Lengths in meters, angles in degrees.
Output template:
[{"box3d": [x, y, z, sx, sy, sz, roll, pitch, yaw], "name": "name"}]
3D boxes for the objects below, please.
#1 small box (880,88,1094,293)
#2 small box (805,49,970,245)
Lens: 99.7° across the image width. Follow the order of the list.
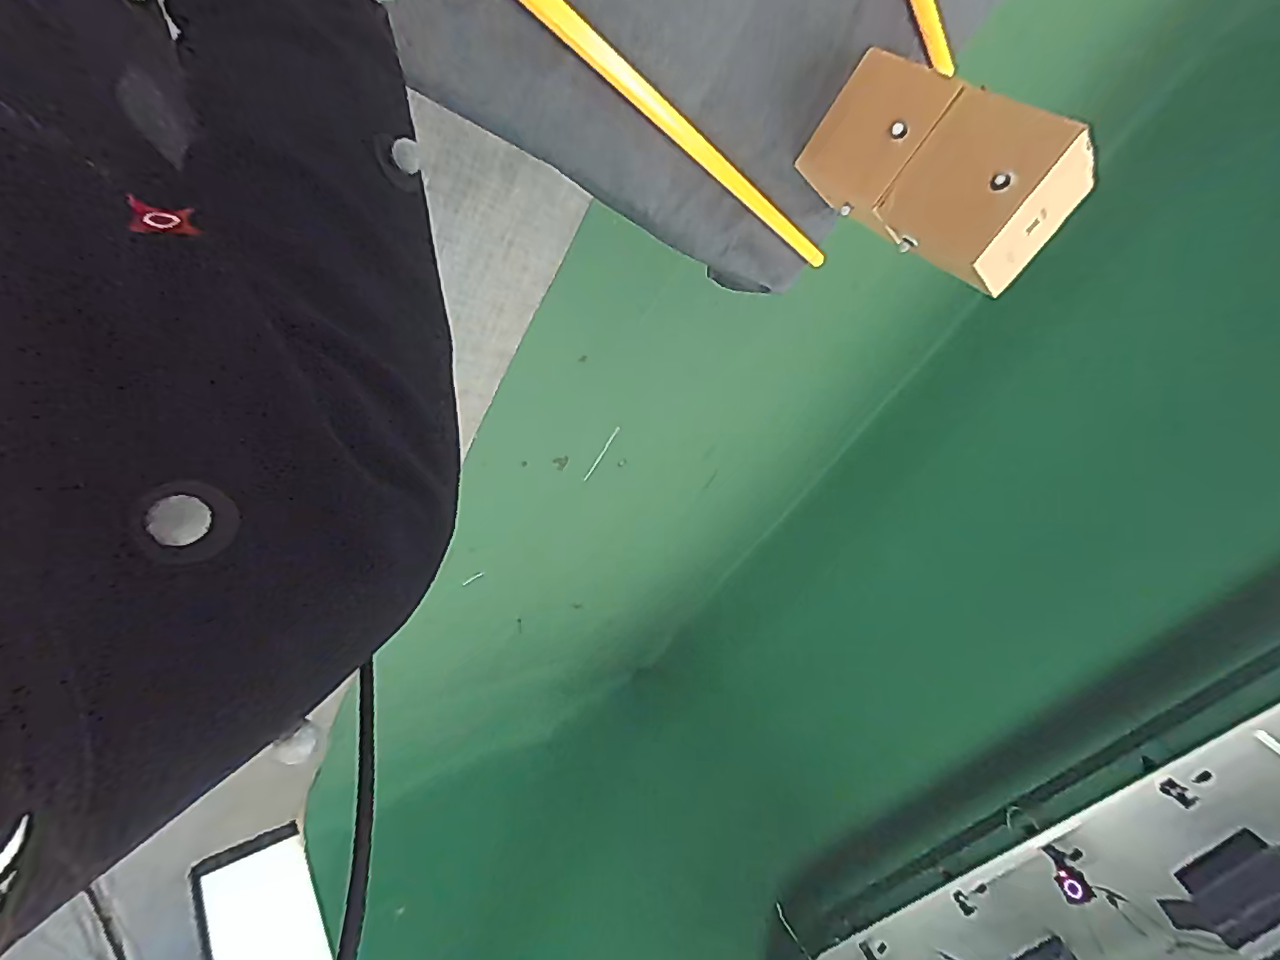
[{"box3d": [0.477, -0.399, 0.753, 0.168, 0.176, 0.179, 1, 131, -48], "name": "small box"}, {"box3d": [0.381, -0.505, 0.830, 0.168, 0.176, 0.179, 3, 129, -50], "name": "small box"}]
